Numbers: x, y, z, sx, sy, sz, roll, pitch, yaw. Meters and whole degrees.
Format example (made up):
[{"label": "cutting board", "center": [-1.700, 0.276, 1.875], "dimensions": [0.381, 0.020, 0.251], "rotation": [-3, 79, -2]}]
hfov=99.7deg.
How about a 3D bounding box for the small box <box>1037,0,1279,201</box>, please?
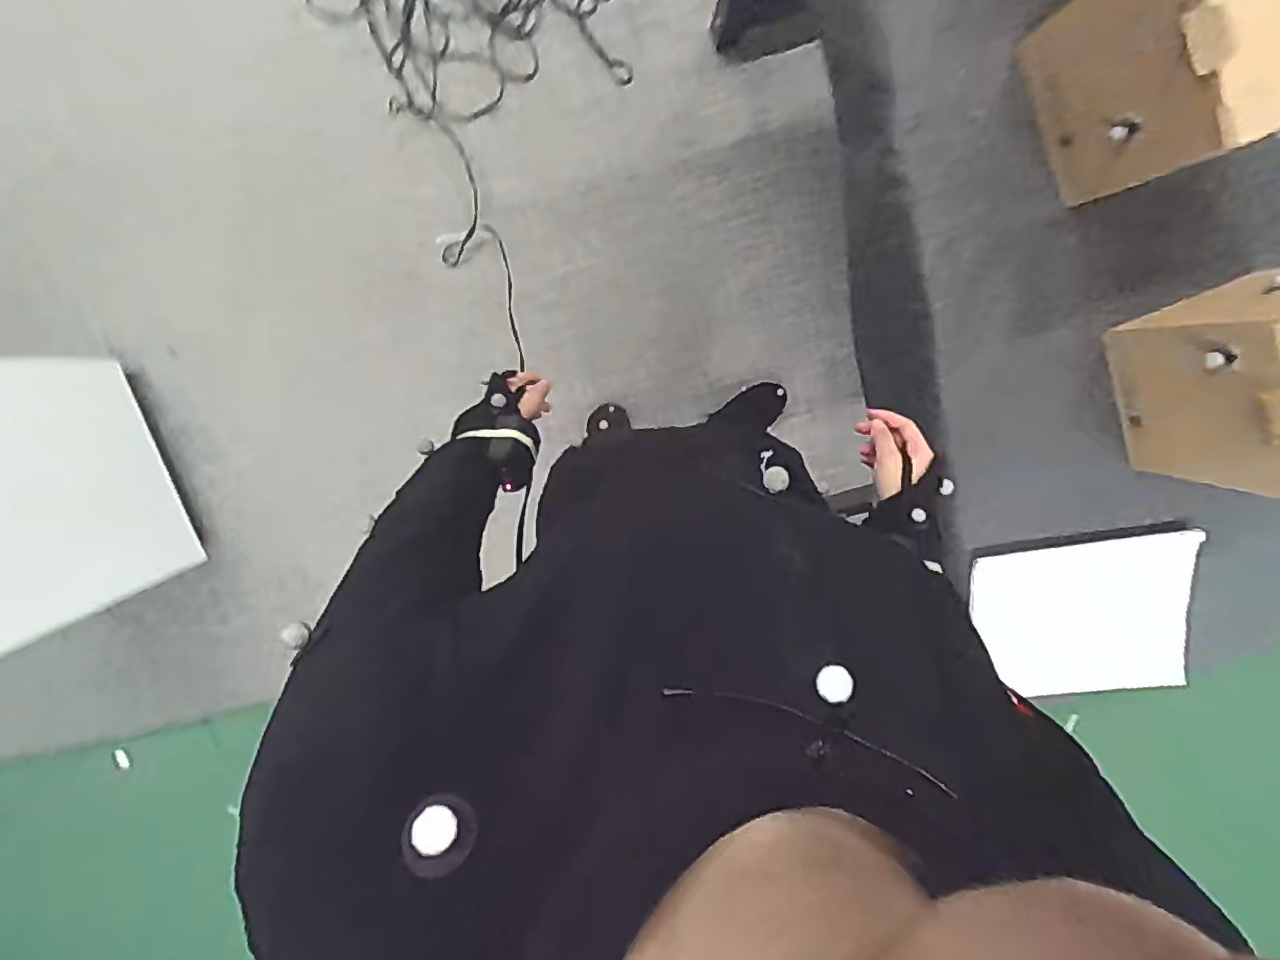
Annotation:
[{"label": "small box", "center": [0.486, -0.372, 0.463], "dimensions": [0.179, 0.176, 0.168], "rotation": [-26, 103, 3]}]
